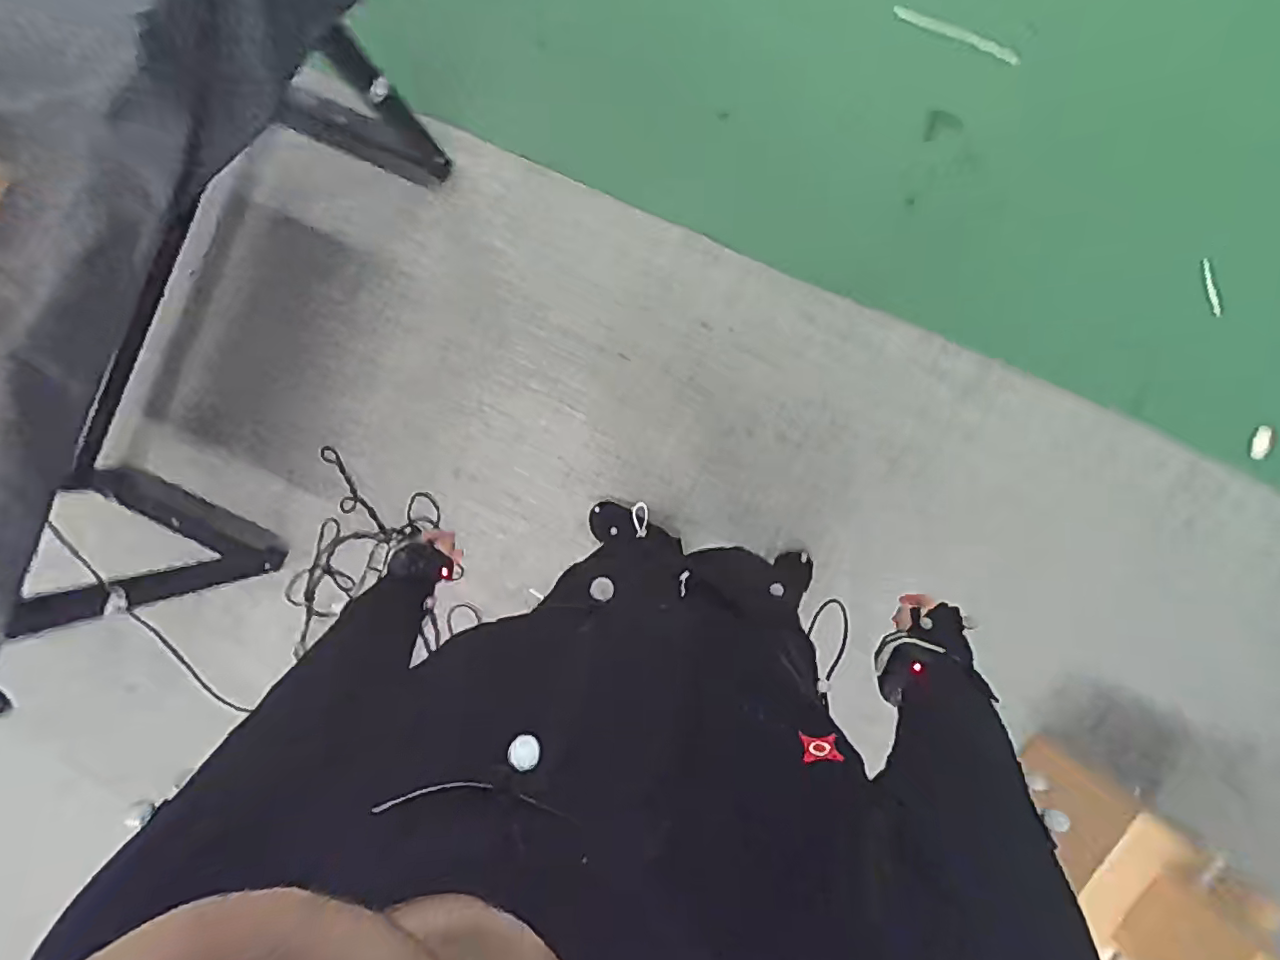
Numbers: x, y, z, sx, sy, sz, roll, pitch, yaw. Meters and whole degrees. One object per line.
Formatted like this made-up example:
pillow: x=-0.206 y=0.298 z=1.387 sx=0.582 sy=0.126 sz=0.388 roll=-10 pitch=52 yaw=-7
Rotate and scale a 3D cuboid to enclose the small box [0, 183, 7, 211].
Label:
small box: x=-0.930 y=-0.363 z=0.636 sx=0.168 sy=0.176 sz=0.179 roll=35 pitch=96 yaw=5
